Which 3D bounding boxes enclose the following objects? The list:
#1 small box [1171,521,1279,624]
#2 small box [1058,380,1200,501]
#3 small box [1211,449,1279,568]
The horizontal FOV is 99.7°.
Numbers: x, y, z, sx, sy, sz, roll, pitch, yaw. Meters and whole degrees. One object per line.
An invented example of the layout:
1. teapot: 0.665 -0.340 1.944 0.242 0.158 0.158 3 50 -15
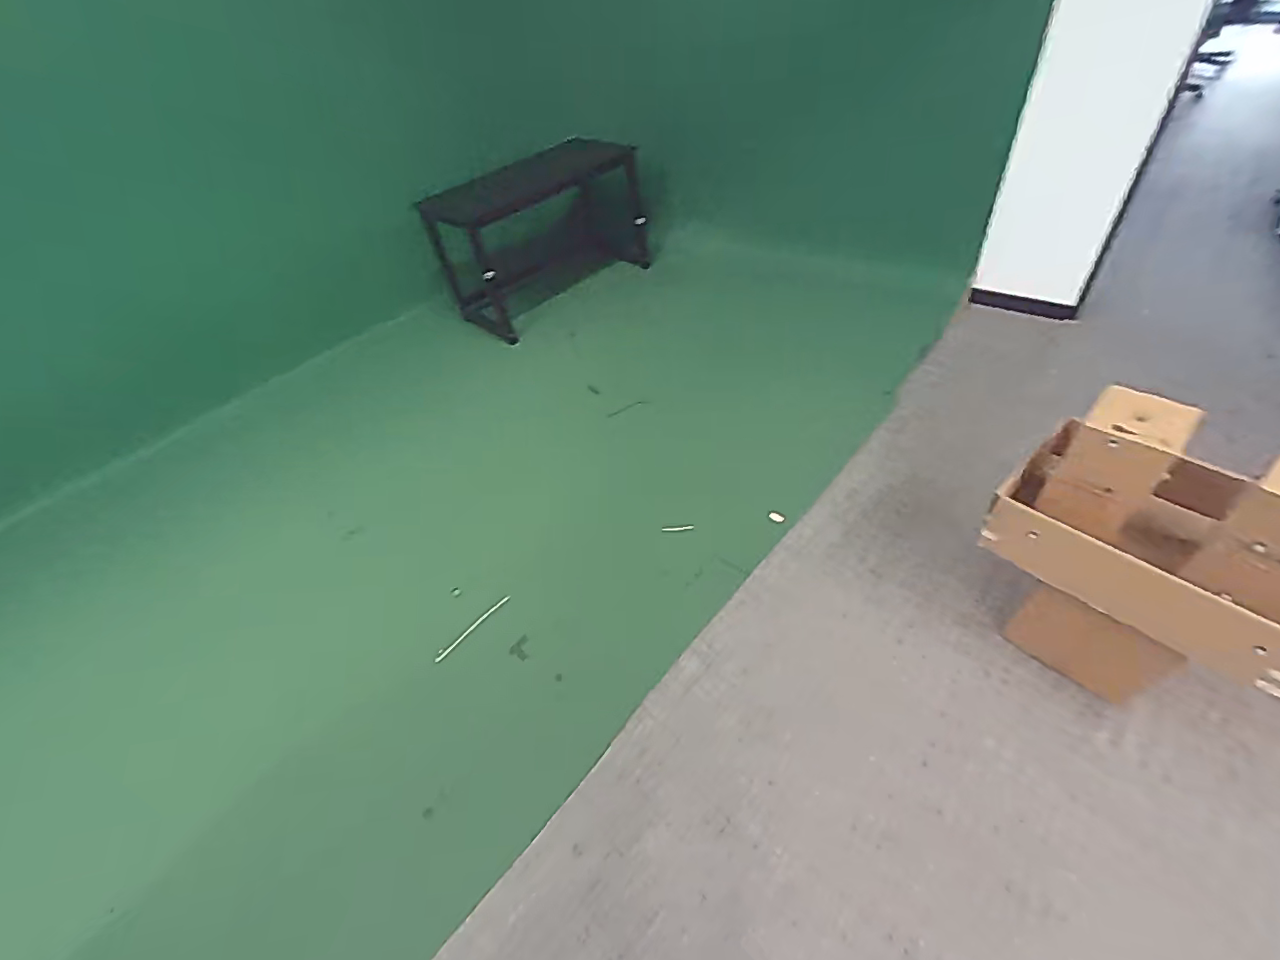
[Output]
1. small box: 1.295 0.166 1.147 0.179 0.176 0.168 -33 49 -19
2. small box: 1.080 -0.089 1.207 0.179 0.176 0.168 -39 50 -25
3. small box: 1.267 0.052 1.034 0.179 0.176 0.168 -34 49 -20
